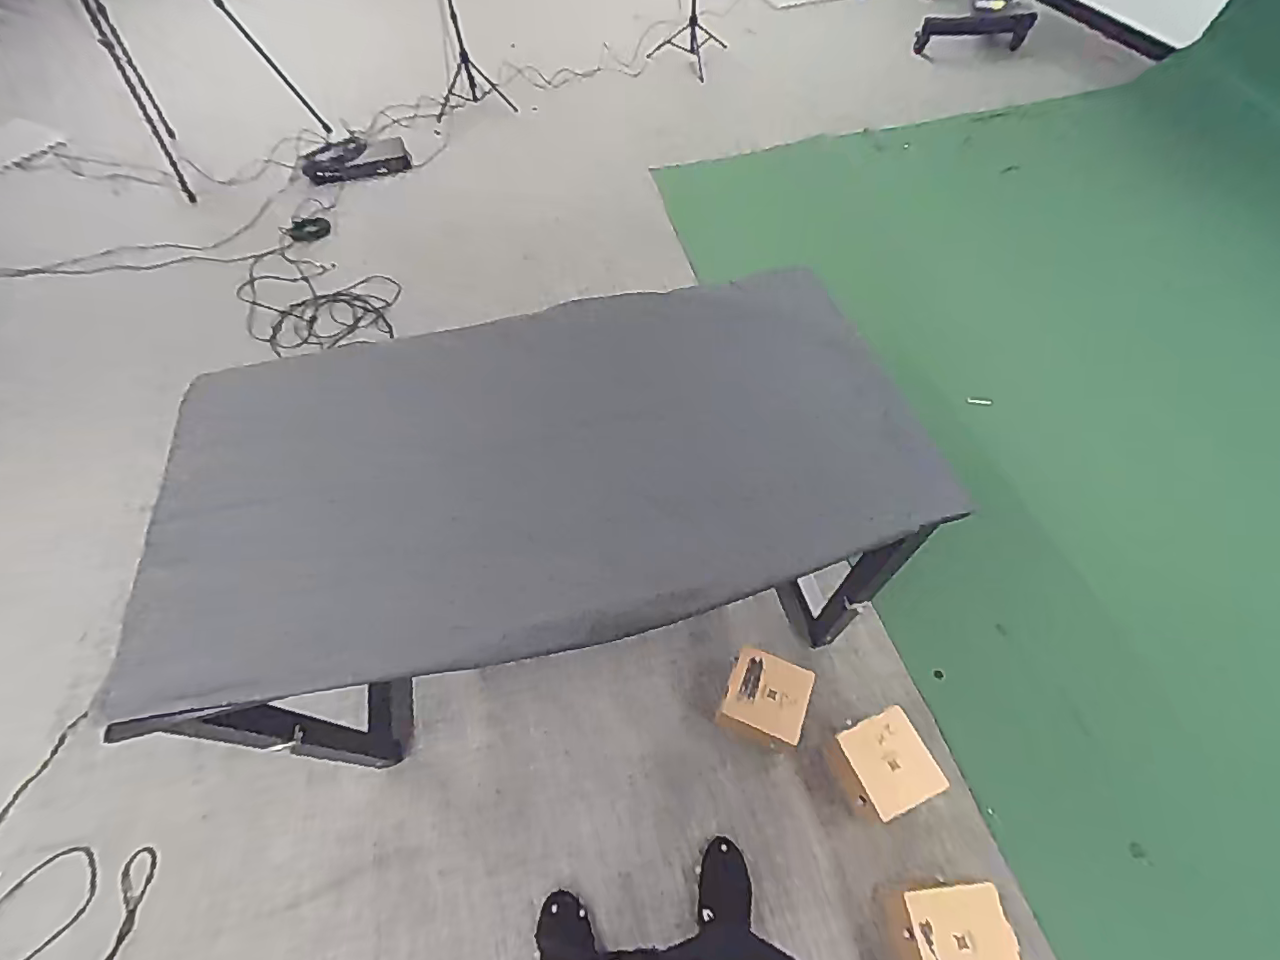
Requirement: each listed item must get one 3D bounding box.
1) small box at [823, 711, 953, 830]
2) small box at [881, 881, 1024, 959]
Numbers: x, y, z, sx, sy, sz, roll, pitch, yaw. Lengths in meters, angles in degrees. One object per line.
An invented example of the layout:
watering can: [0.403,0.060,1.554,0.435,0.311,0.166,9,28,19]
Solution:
small box: [0.531,0.636,1.186,0.168,0.176,0.179,-20,59,-10]
small box: [0.593,0.879,1.028,0.179,0.176,0.168,-6,58,-1]
